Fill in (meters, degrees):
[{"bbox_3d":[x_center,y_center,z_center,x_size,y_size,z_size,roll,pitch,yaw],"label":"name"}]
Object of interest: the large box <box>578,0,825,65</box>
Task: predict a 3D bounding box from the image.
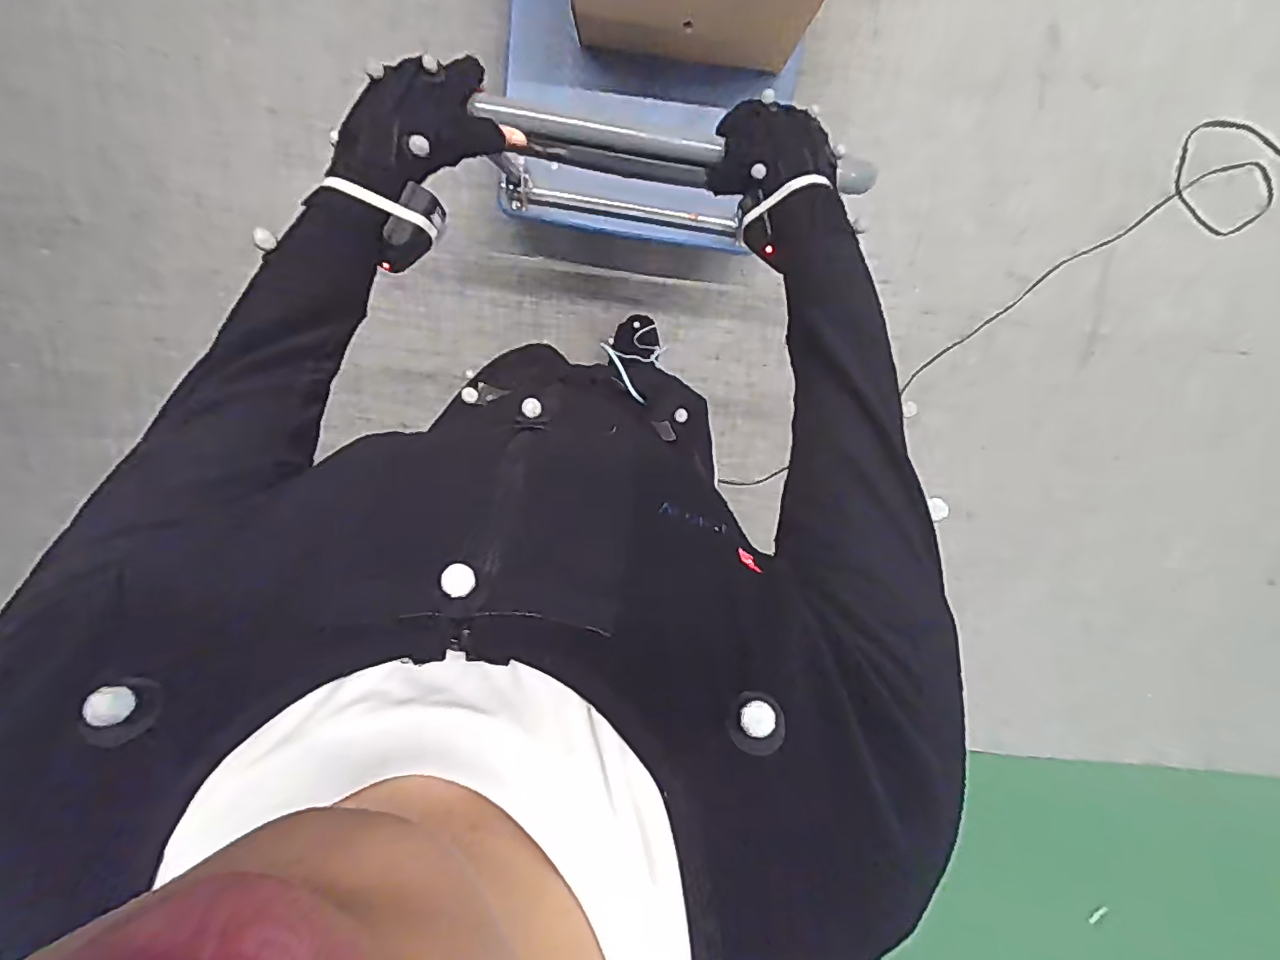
[{"bbox_3d":[0.108,-0.941,0.895,0.408,0.320,0.320,5,107,-1],"label":"large box"}]
